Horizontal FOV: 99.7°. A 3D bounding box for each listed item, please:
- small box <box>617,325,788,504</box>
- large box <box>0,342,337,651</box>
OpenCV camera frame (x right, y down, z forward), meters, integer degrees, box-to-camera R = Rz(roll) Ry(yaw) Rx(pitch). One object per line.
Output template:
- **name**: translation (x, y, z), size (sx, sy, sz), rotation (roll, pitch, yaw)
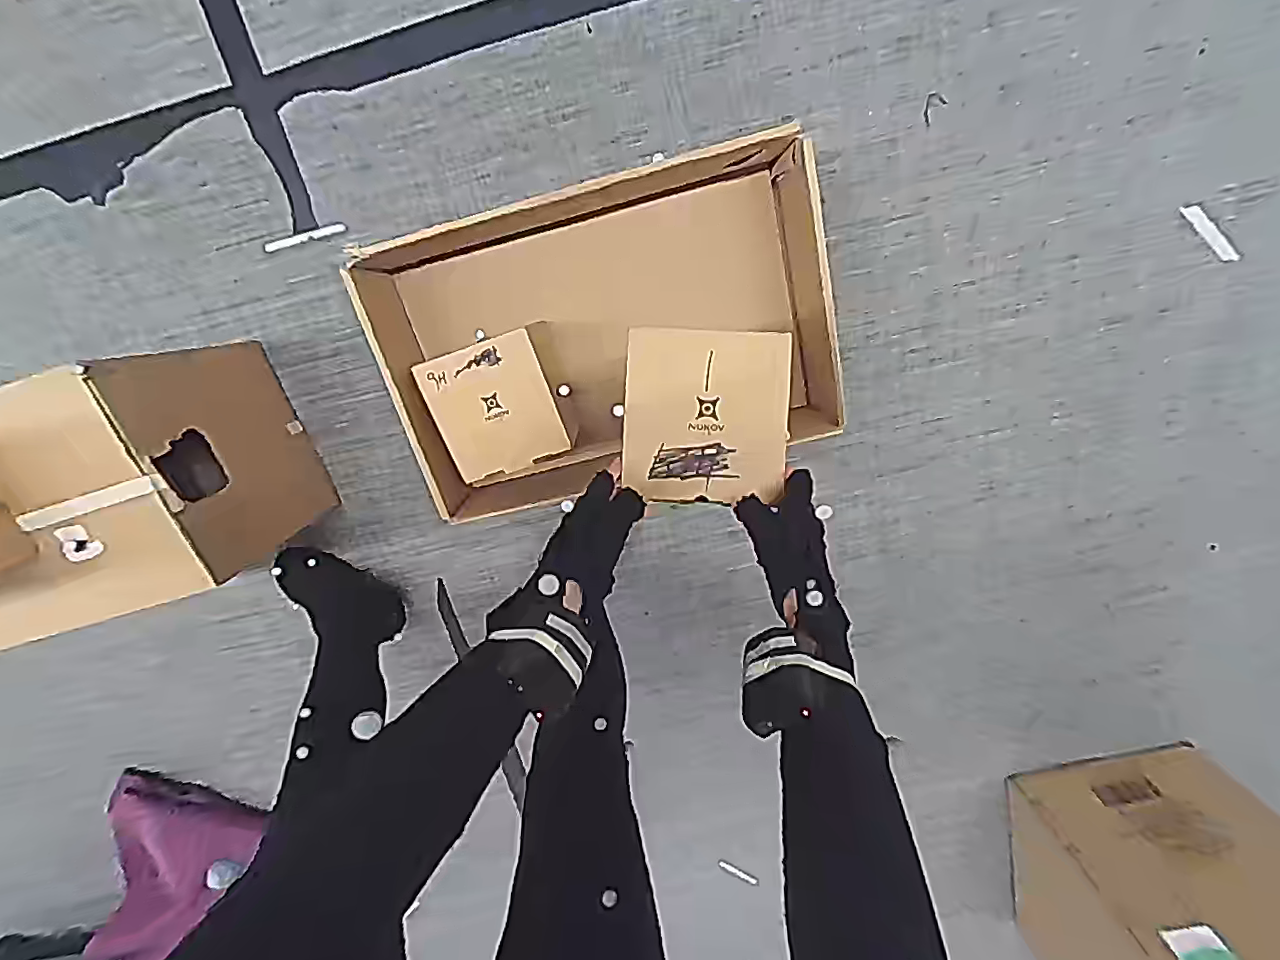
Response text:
- **small box**: translation (0.065, -0.070, 0.626), size (0.168, 0.176, 0.179), rotation (3, 92, 1)
- **large box**: translation (-0.787, 0.004, 0.833), size (0.408, 0.320, 0.320), rotation (-17, 109, 5)
